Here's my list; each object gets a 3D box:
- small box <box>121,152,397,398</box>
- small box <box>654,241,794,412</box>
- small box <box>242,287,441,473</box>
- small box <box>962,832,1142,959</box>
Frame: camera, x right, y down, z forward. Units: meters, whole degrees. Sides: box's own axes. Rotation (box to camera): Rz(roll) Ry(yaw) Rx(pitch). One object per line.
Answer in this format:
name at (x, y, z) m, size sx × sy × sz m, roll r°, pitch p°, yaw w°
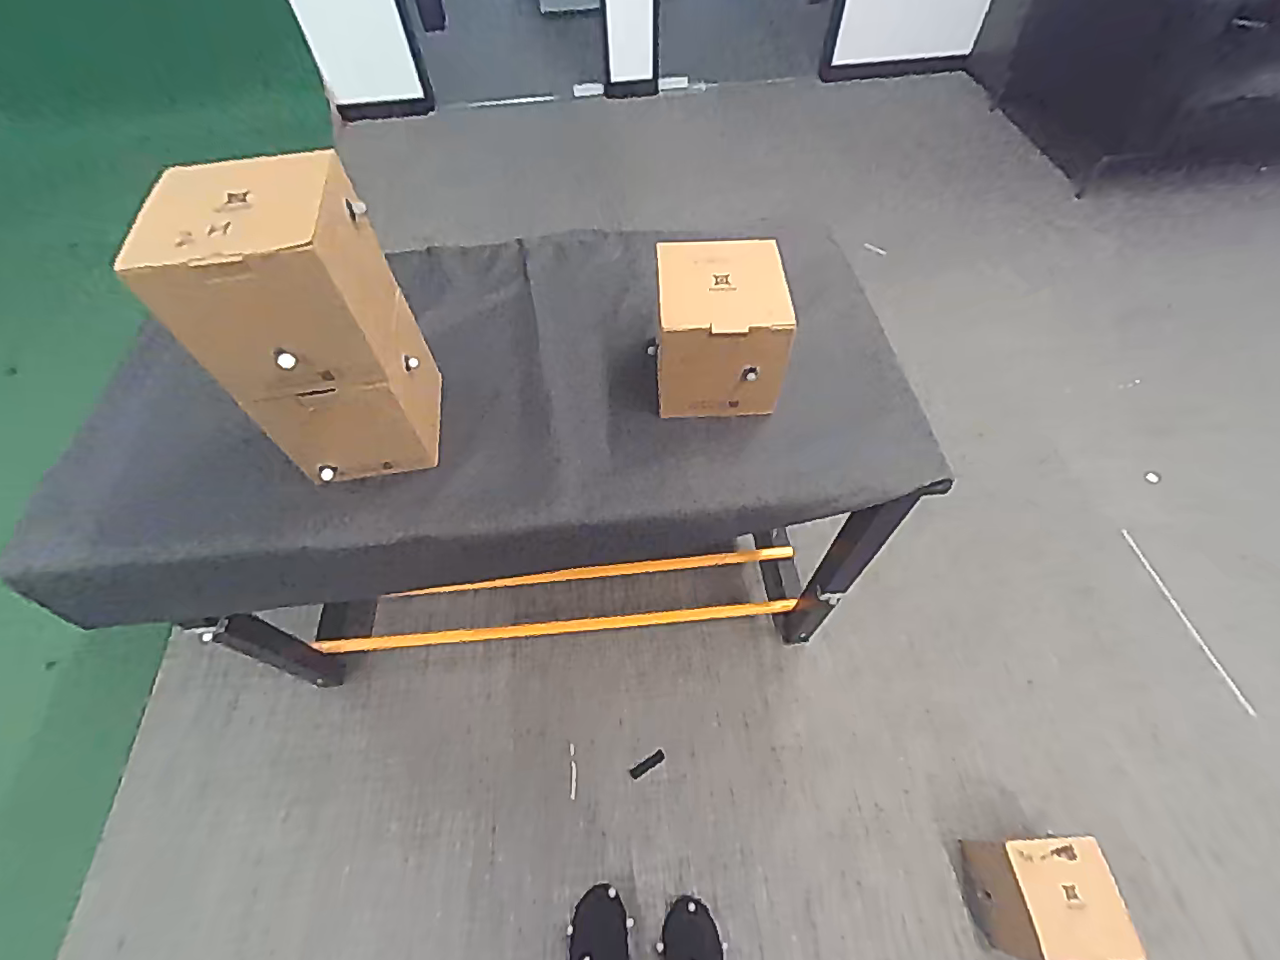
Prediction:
small box at (-0.376, -0.215, 0.578) m, size 0.168 × 0.176 × 0.179 m, roll -11°, pitch 57°, yaw -5°
small box at (0.105, -0.208, 0.761) m, size 0.168 × 0.176 × 0.179 m, roll -1°, pitch 56°, yaw -1°
small box at (-0.373, -0.123, 0.715) m, size 0.168 × 0.176 × 0.179 m, roll -8°, pitch 56°, yaw -5°
small box at (0.729, 0.752, 0.984) m, size 0.168 × 0.176 × 0.179 m, roll -3°, pitch 58°, yaw -1°
